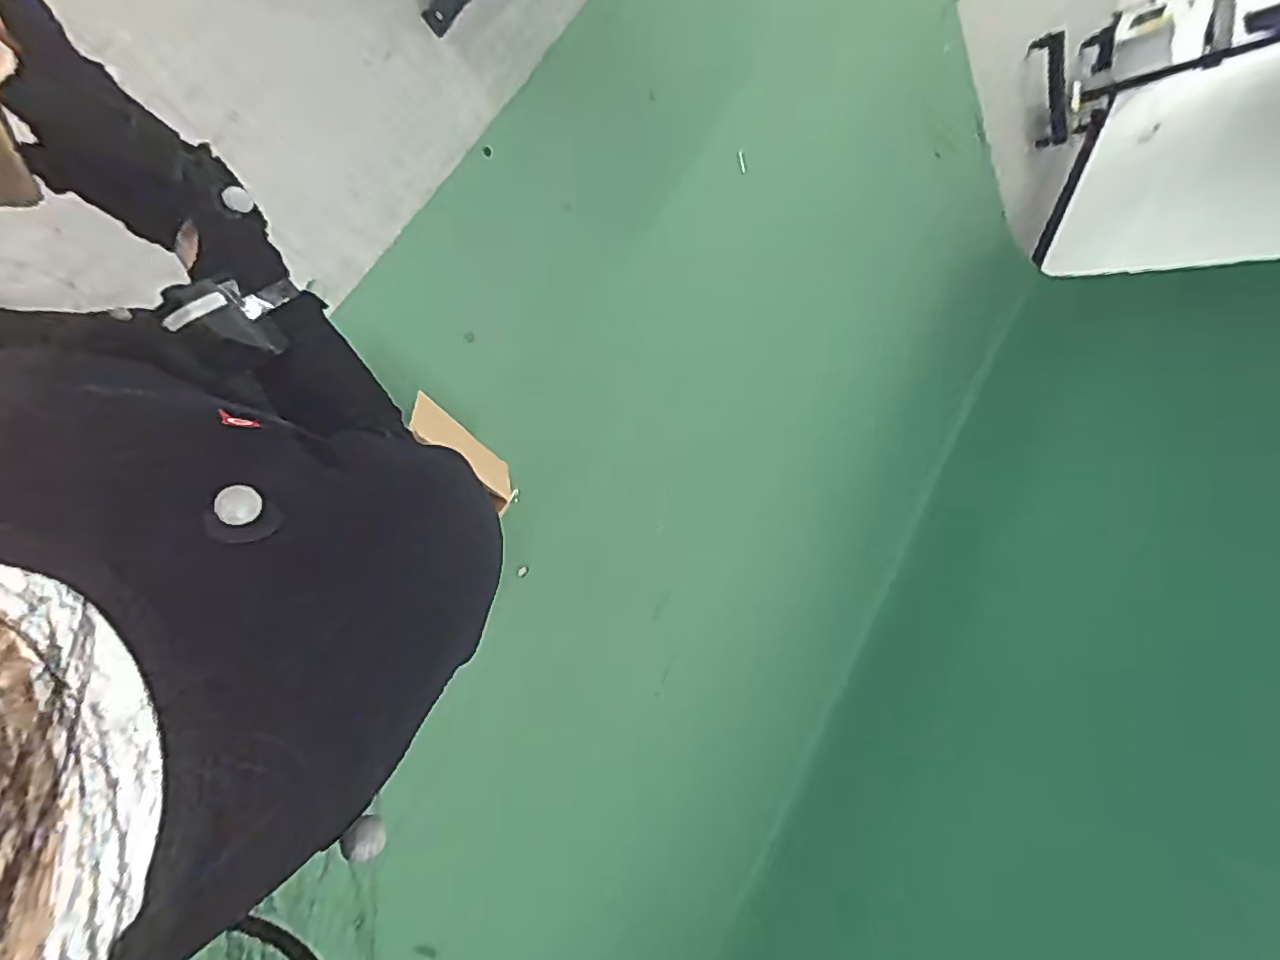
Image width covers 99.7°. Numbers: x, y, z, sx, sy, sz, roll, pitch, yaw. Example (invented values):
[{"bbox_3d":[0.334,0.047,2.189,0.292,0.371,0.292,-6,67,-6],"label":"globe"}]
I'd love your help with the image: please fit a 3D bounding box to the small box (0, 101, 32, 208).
[{"bbox_3d":[-0.420,-0.229,0.229,0.168,0.176,0.179,-26,114,-37],"label":"small box"}]
